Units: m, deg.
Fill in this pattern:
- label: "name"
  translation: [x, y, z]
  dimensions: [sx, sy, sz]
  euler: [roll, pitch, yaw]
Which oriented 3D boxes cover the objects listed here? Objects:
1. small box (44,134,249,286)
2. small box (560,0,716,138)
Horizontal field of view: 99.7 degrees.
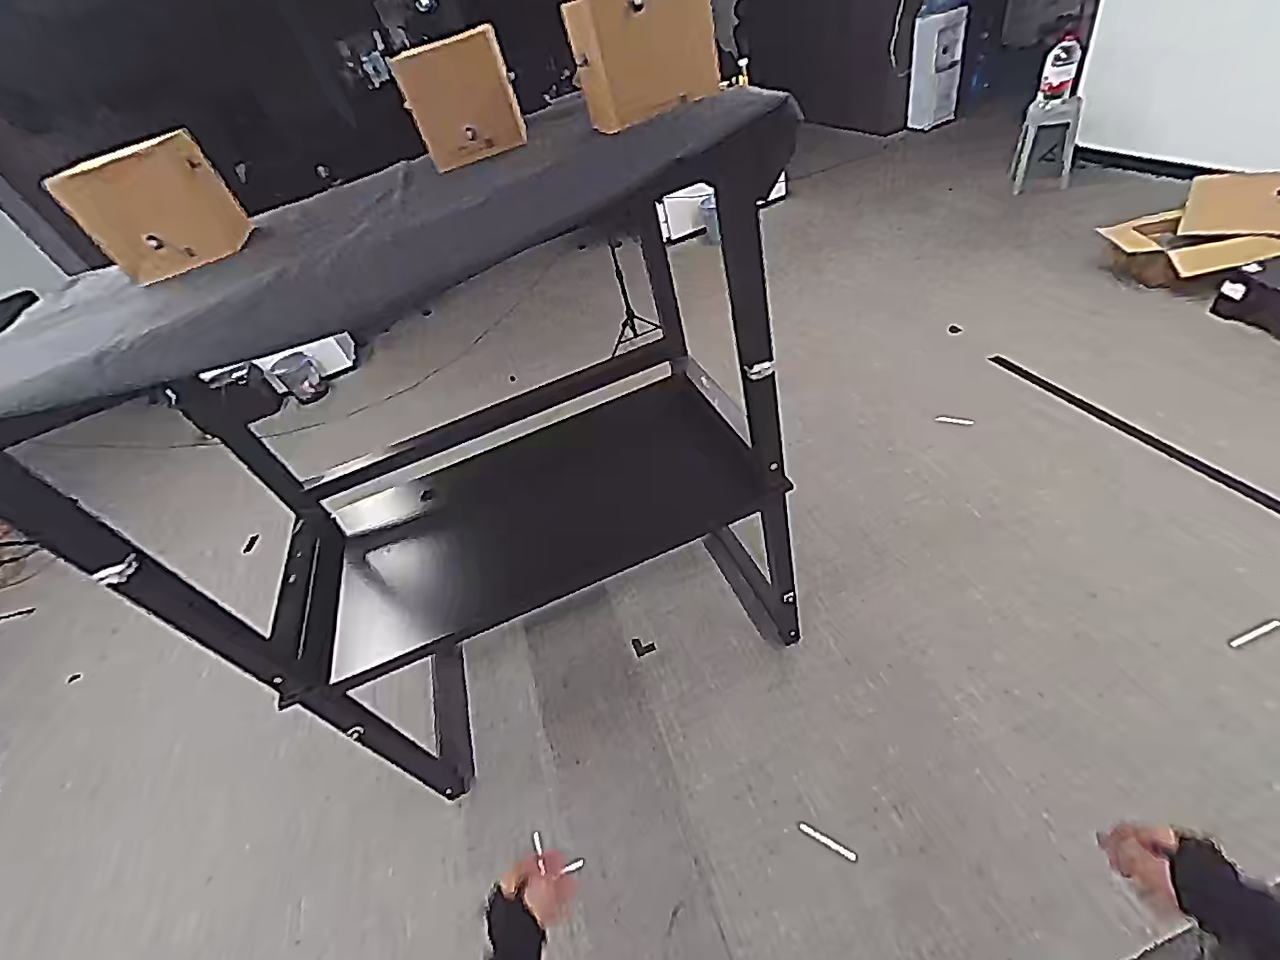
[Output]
- label: "small box"
  translation: [-0.798, -0.449, 0.903]
  dimensions: [0.168, 0.176, 0.179]
  euler: [-24, 44, -6]
- label: "small box"
  translation: [-0.003, -0.629, 0.800]
  dimensions: [0.168, 0.176, 0.179]
  euler: [-23, 41, -3]
